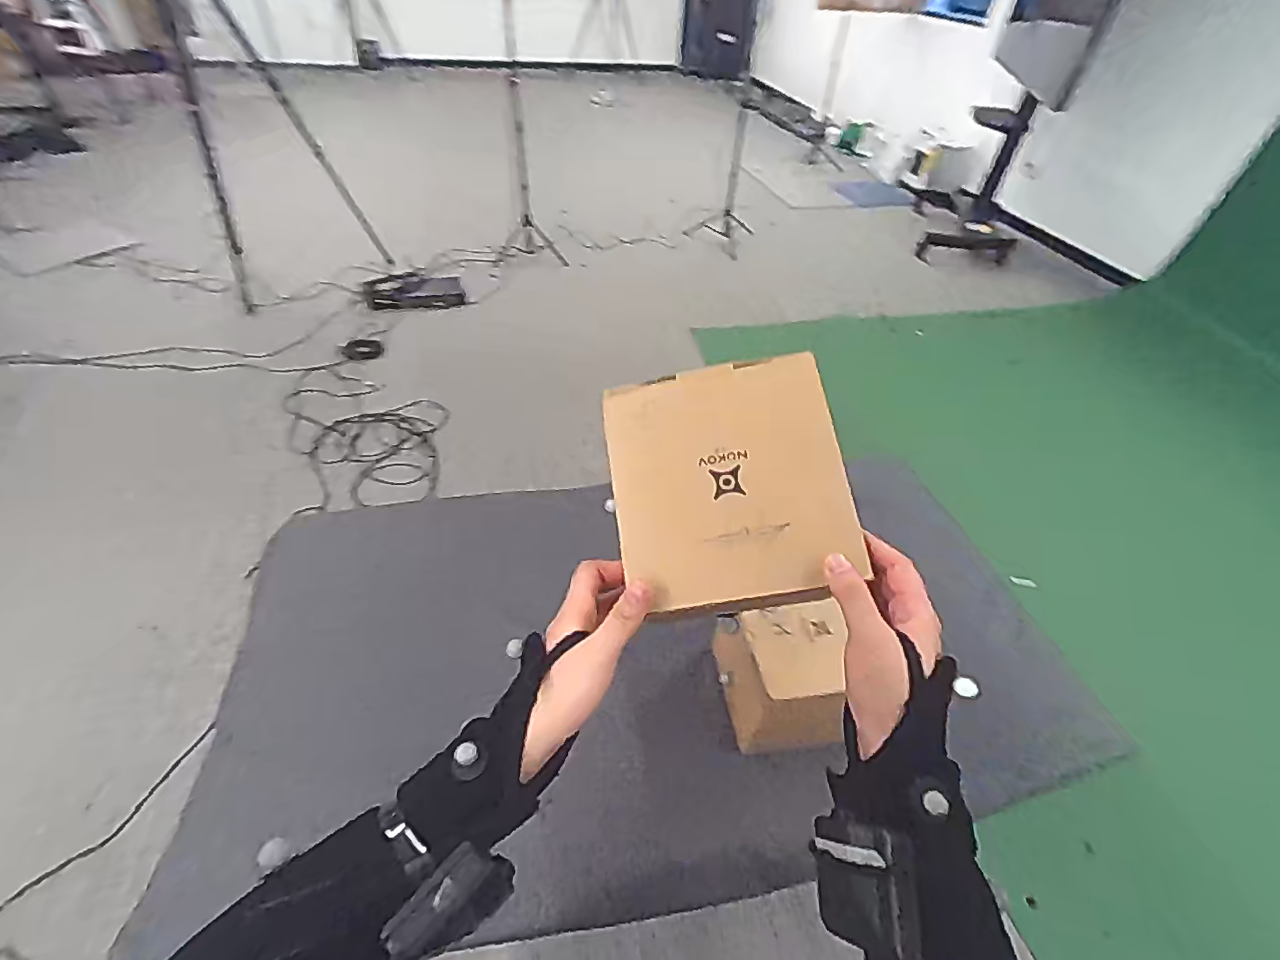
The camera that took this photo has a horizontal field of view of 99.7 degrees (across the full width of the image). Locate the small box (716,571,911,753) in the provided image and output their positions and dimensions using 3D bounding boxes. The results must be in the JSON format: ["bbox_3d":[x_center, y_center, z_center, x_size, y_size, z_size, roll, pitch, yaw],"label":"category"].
[{"bbox_3d":[0.213,0.242,0.720,0.179,0.176,0.168,-4,44,-8],"label":"small box"}]
